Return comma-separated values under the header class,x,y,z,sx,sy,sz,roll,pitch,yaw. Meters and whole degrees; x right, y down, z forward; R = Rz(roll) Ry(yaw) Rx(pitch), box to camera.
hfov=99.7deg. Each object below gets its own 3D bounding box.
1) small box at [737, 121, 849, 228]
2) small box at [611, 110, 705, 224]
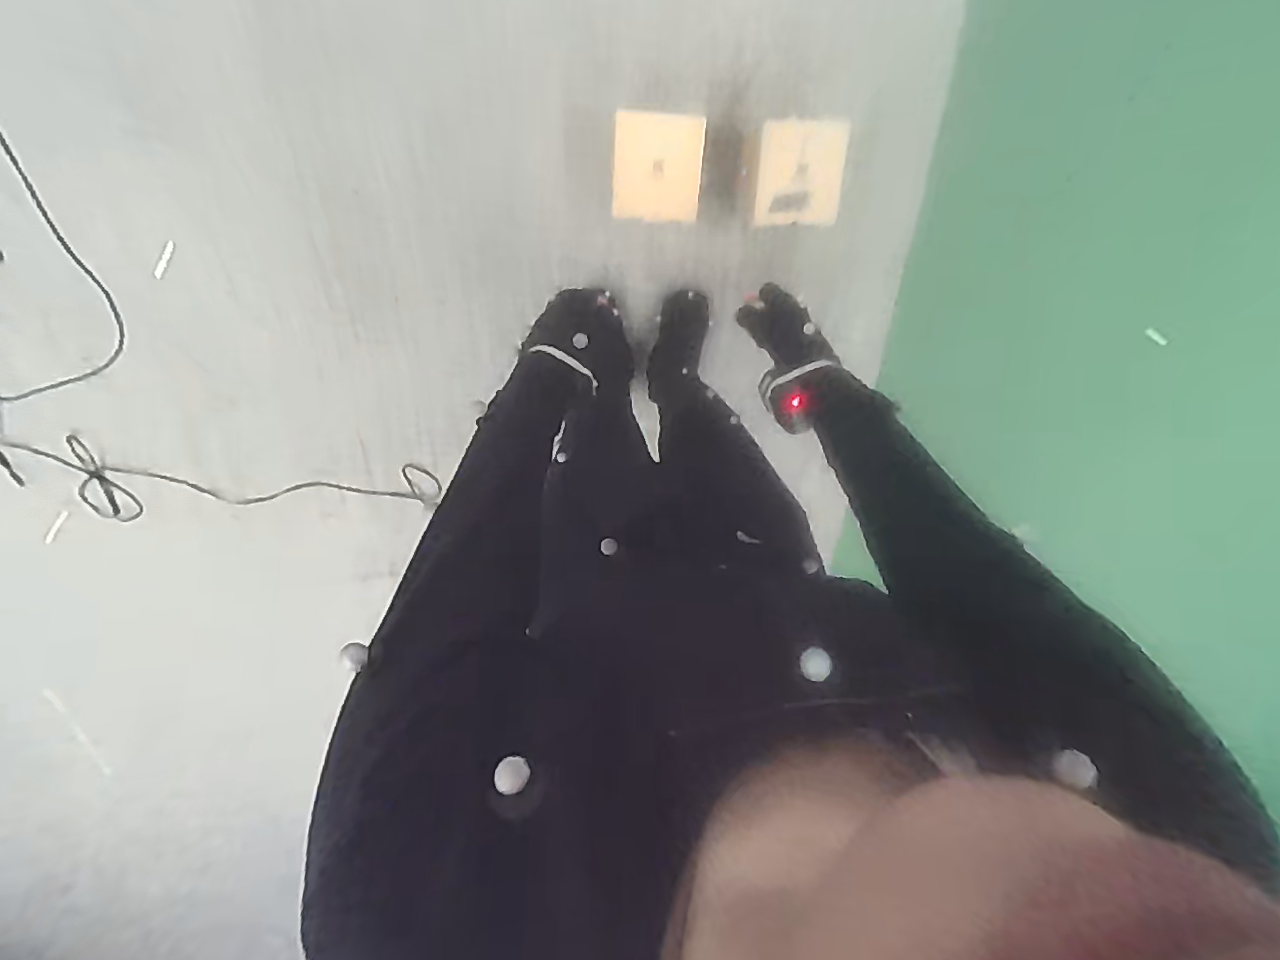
class,x,y,z,sx,sy,sz,roll,pitch,yaw
small box,0.296,-0.611,1.090,0.168,0.176,0.179,-1,118,-2
small box,0.027,-0.616,1.077,0.168,0.176,0.179,2,118,-4
